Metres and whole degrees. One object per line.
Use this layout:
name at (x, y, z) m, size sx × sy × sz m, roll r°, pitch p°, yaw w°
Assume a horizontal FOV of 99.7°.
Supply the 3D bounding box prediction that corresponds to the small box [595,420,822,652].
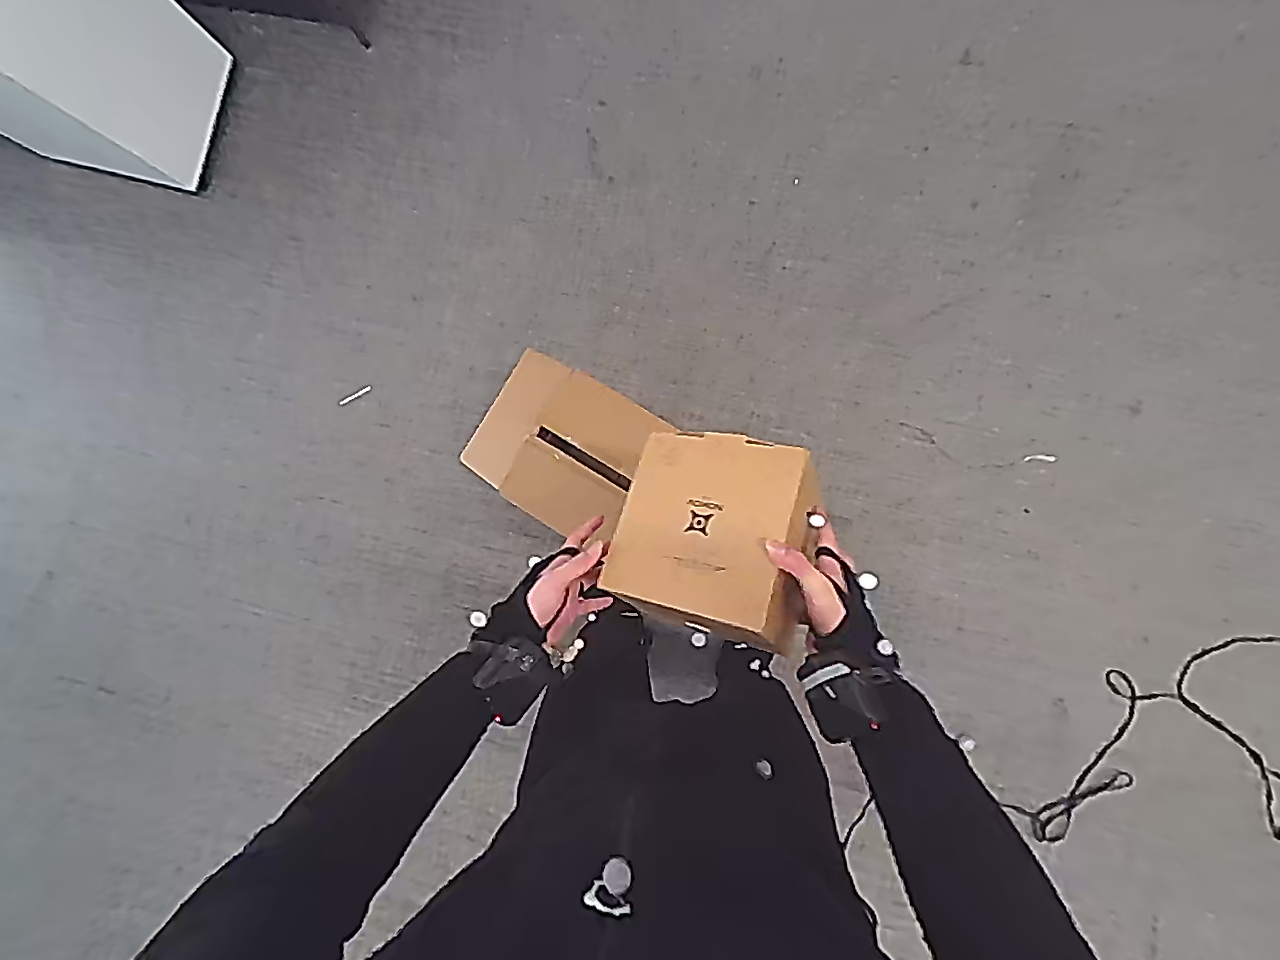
small box at (0.085, 0.061, 0.570) m, size 0.168 × 0.176 × 0.179 m, roll 11°, pitch 71°, yaw 31°
